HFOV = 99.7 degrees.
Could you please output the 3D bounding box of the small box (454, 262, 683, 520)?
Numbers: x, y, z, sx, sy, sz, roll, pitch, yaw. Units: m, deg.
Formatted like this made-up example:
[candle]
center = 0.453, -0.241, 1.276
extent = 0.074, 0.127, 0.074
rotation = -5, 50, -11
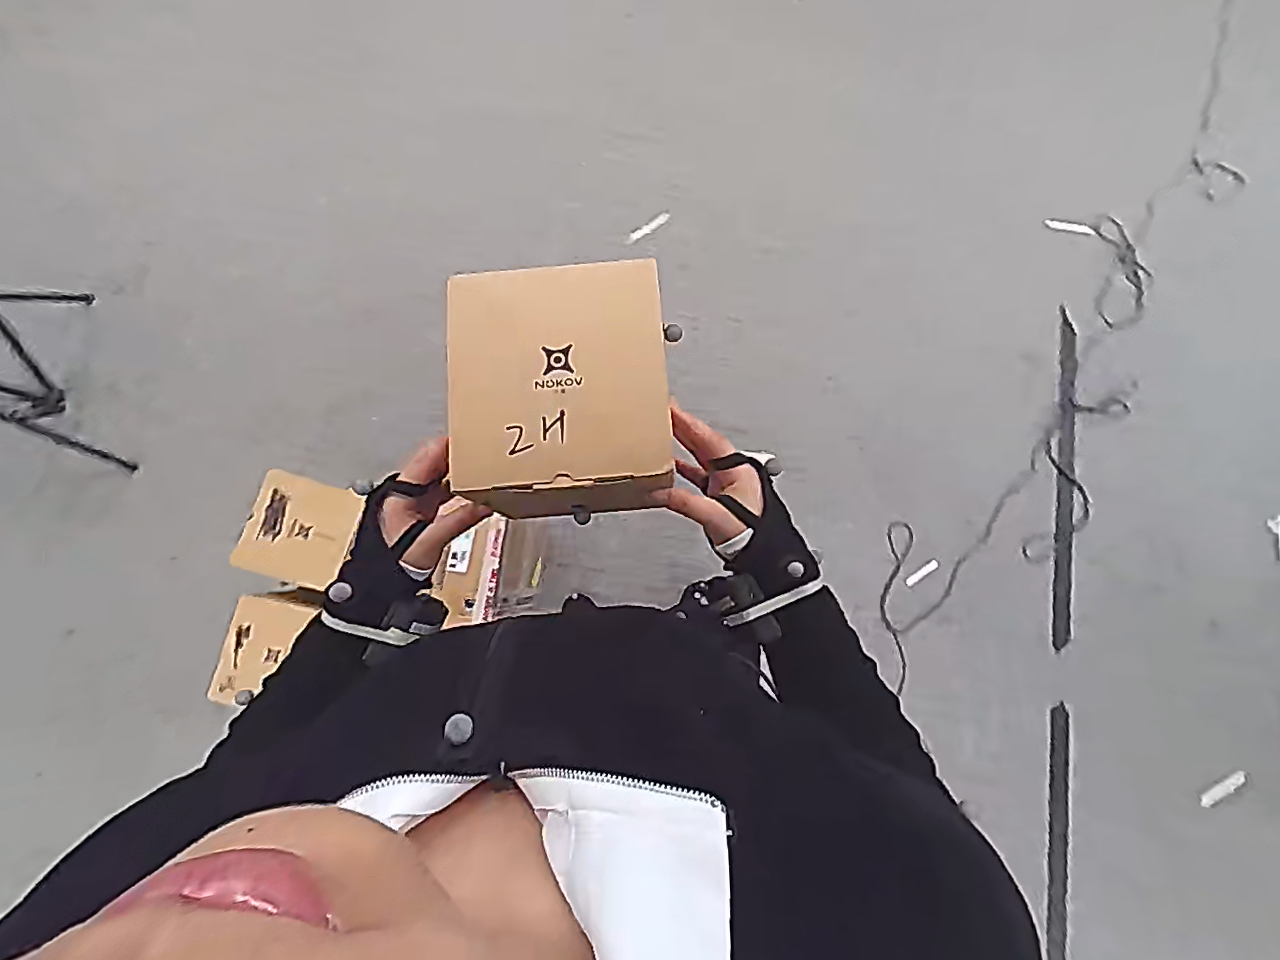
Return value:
[small box]
center = -0.053, -0.065, 0.478
extent = 0.168, 0.176, 0.179
rotation = -3, 79, 1
